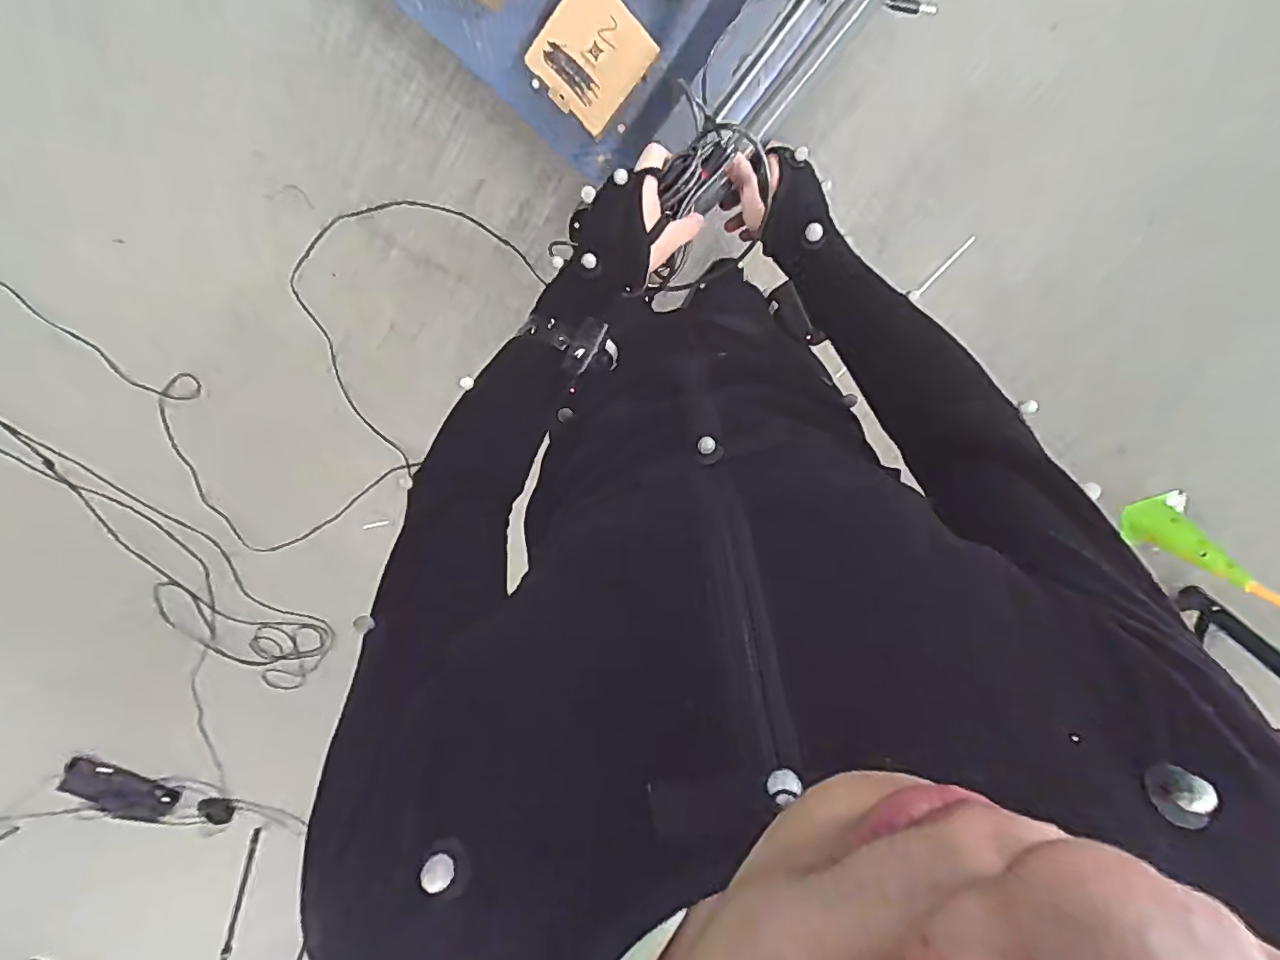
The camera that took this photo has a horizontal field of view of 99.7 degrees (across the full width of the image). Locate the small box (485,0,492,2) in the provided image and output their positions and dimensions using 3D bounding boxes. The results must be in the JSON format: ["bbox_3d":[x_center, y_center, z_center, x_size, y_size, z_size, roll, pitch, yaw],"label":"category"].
[{"bbox_3d":[-0.286,-0.931,0.878,0.179,0.176,0.168,32,115,-19],"label":"small box"}]
